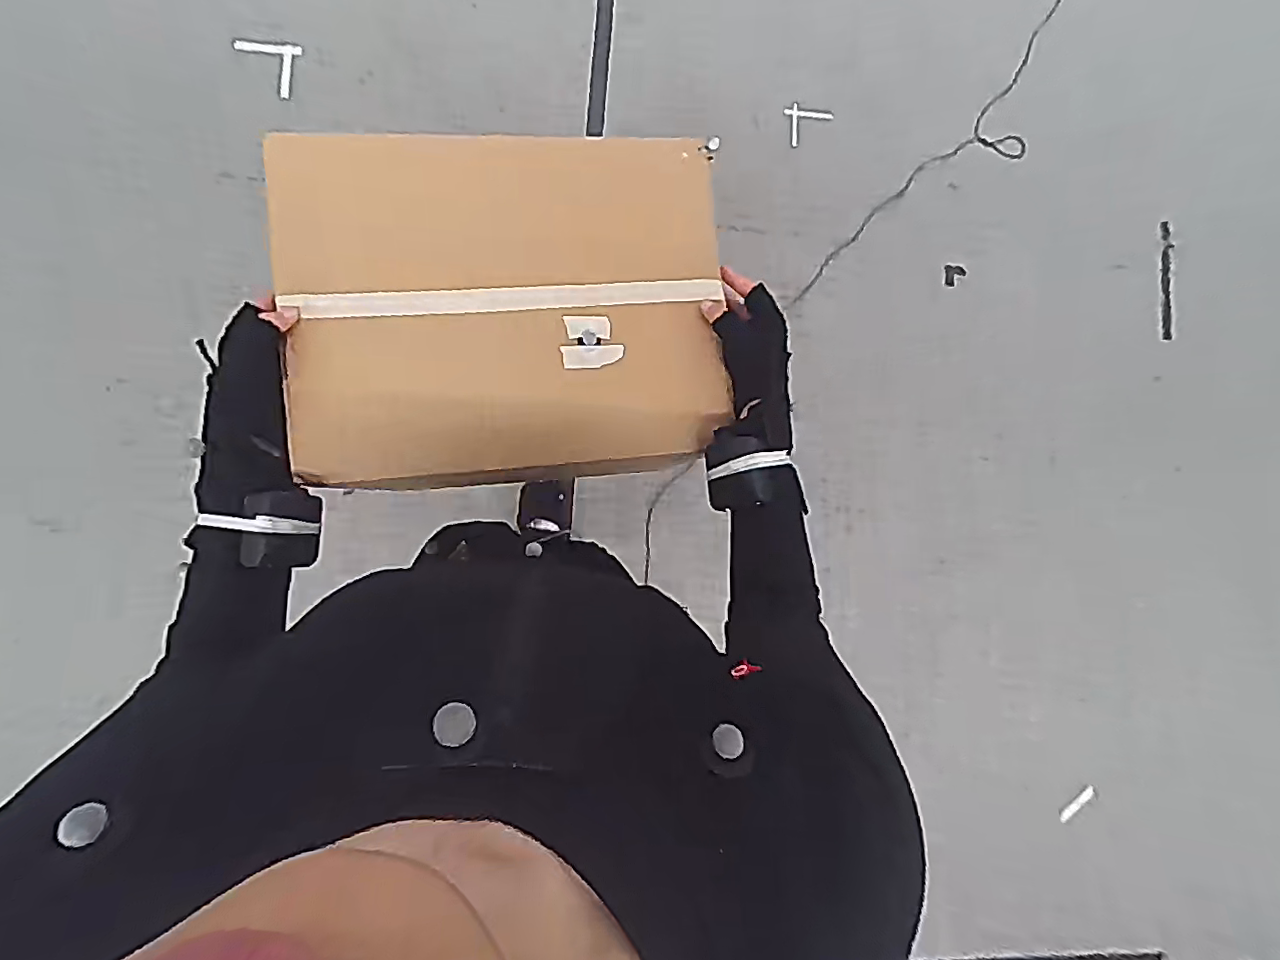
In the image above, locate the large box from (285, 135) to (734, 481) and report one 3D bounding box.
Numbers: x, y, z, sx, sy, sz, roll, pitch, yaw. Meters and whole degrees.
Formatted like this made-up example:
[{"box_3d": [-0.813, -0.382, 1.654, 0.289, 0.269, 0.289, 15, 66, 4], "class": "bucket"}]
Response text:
[{"box_3d": [-0.139, -0.174, 0.665, 0.408, 0.320, 0.320, -5, 90, -10], "class": "large box"}]
